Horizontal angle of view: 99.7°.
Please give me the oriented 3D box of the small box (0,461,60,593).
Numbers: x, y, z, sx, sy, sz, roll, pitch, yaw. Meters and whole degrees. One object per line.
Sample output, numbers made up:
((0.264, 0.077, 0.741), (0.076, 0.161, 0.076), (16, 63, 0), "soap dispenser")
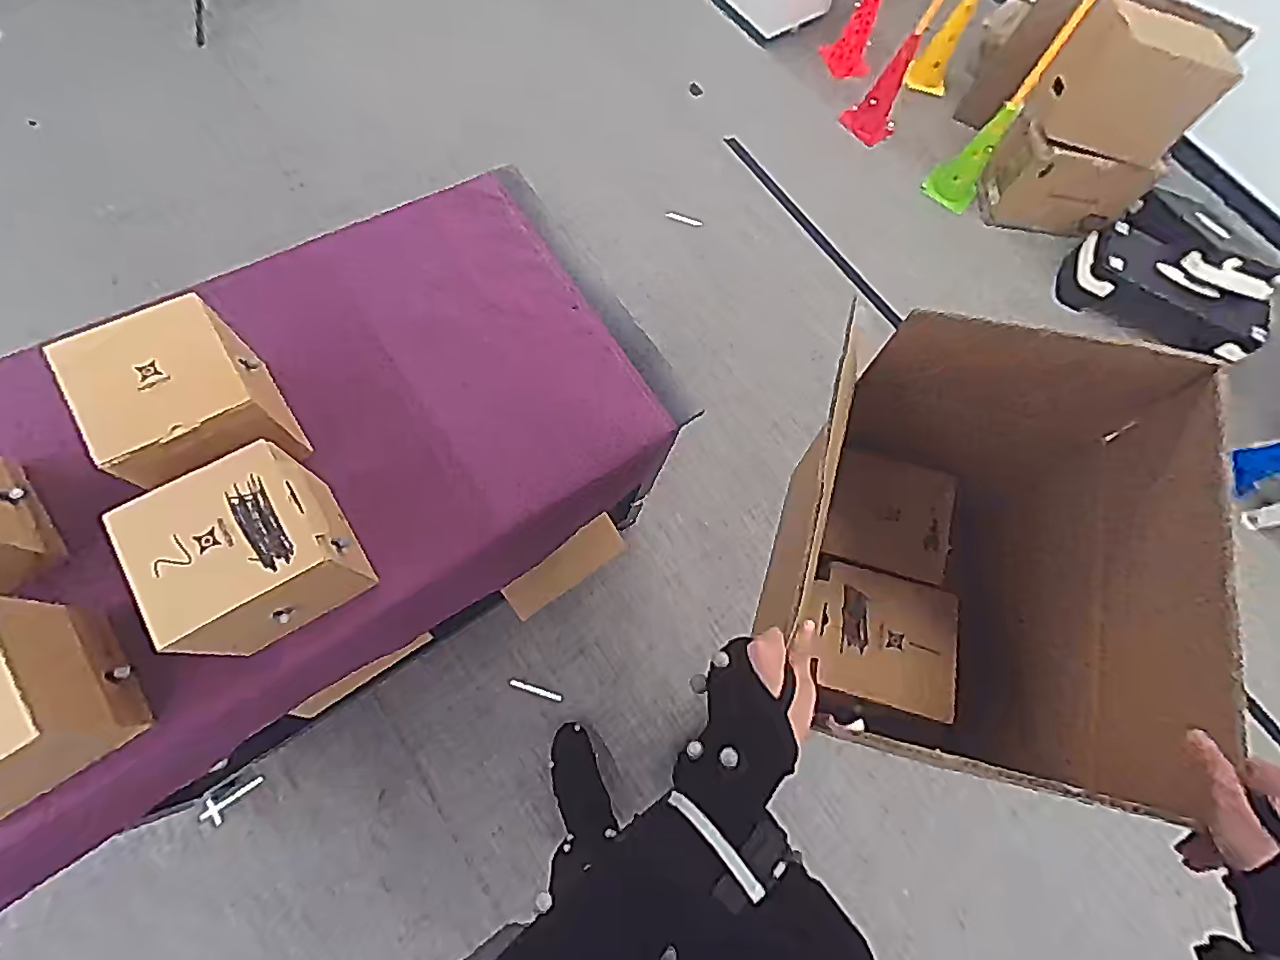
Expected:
((-0.831, 0.059, 0.596), (0.179, 0.176, 0.168), (-35, 80, -19), "small box")

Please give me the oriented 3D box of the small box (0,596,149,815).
((-0.680, 0.244, 0.556), (0.179, 0.176, 0.168), (-33, 79, -19), "small box")
